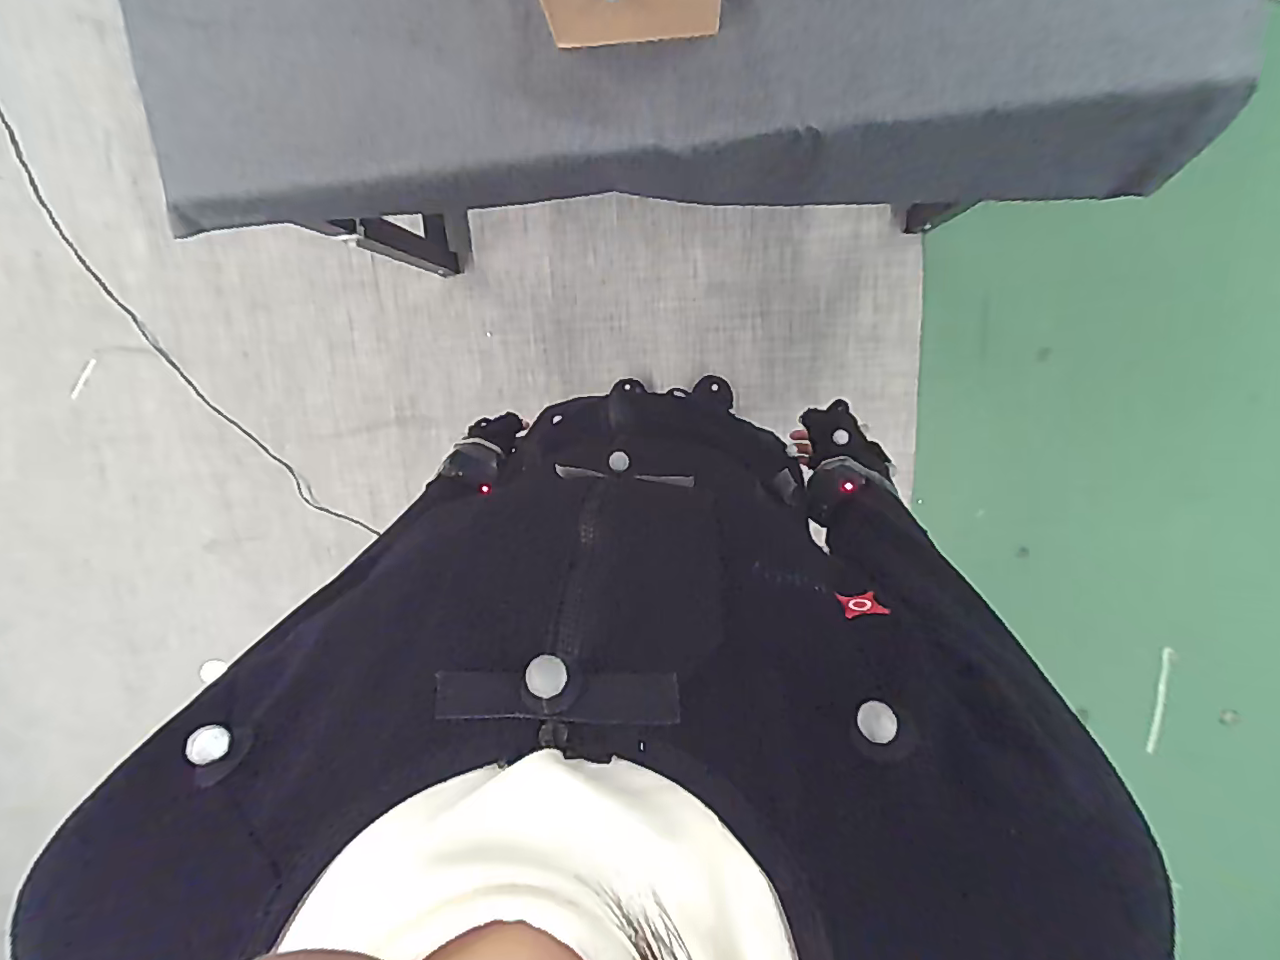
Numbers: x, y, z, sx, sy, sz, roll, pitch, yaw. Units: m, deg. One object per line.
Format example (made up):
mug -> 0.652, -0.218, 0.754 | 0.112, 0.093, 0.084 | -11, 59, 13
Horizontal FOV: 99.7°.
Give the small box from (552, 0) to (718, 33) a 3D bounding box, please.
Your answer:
small box -> -0.012, -0.553, 0.492 | 0.179, 0.176, 0.168 | -4, 101, 5
